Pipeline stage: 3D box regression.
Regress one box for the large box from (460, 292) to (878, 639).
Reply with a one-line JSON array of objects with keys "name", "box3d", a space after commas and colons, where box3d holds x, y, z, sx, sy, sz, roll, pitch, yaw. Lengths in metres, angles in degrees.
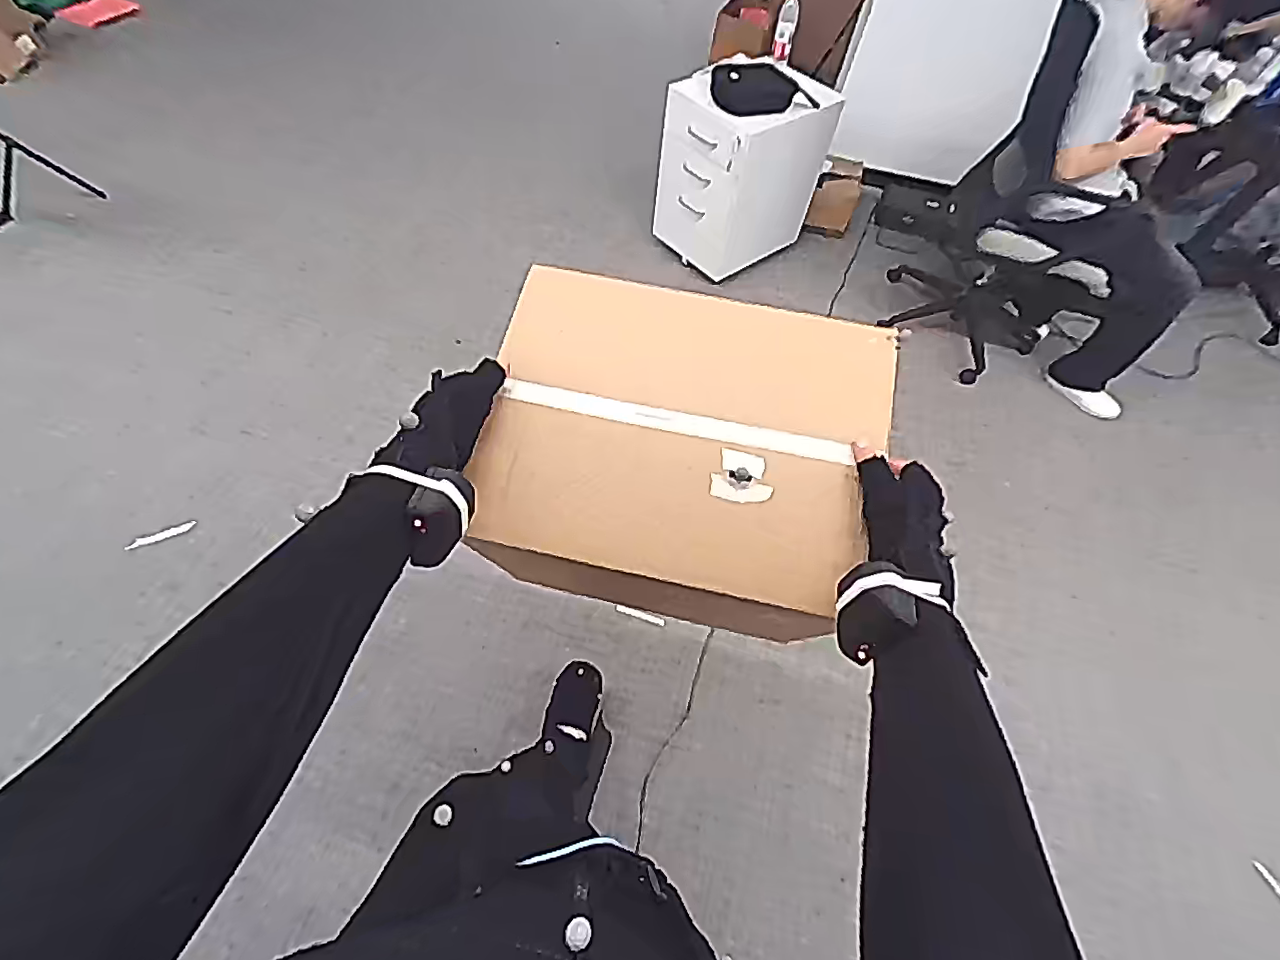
[{"name": "large box", "box3d": [0.040, 0.006, 0.709, 0.408, 0.320, 0.320, 12, 72, 3]}]
